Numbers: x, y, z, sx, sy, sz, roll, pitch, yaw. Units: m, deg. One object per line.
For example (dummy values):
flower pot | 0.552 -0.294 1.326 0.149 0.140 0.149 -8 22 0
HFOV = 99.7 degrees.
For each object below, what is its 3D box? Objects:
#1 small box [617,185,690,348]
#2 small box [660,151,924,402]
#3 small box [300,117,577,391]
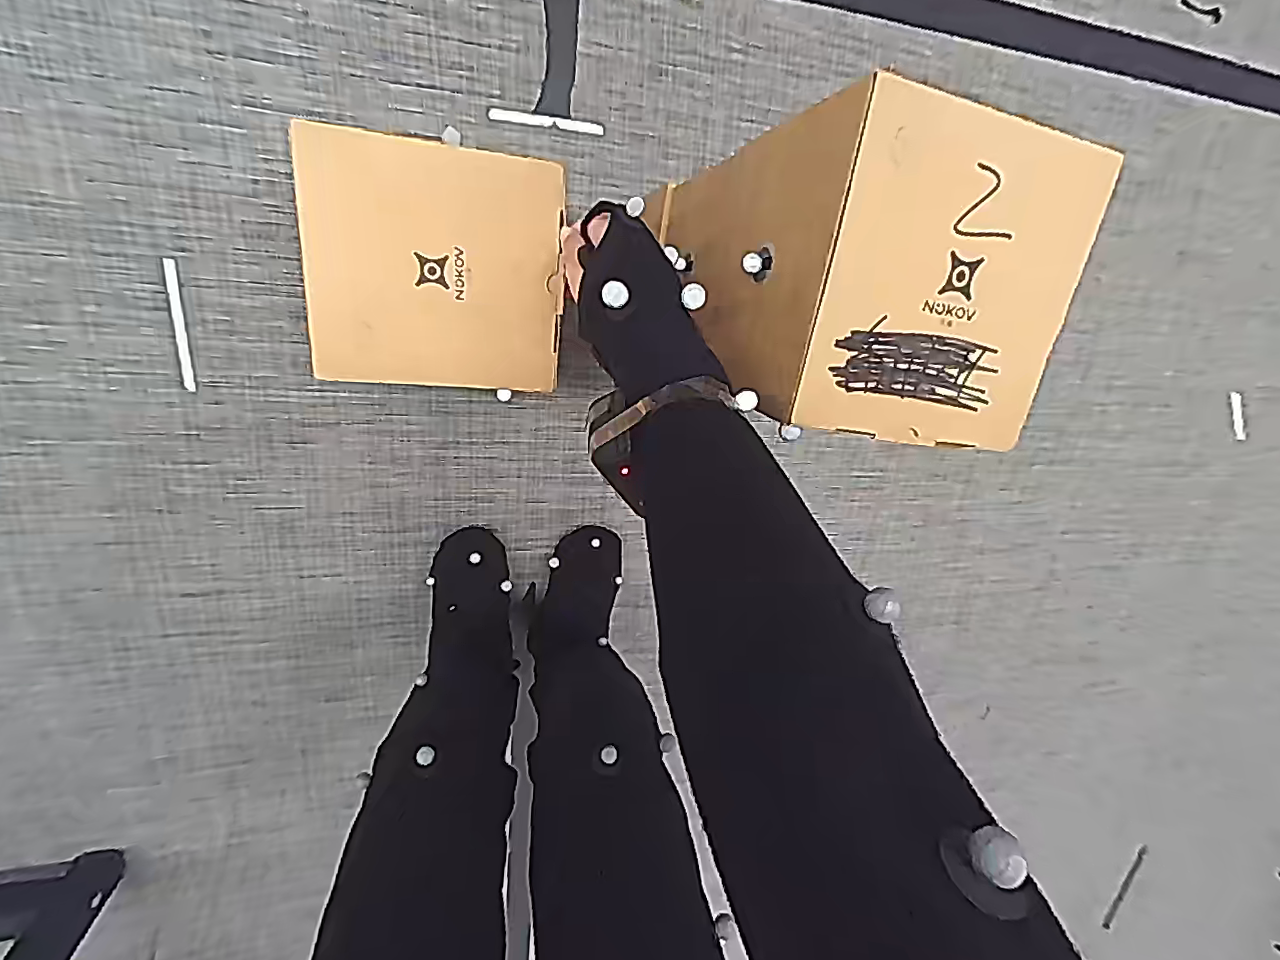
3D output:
small box | 0.083 -0.246 0.669 0.179 0.176 0.168 5 109 -17
small box | 0.125 -0.185 0.522 0.168 0.176 0.179 4 108 -16
small box | -0.156 -0.174 0.454 0.179 0.176 0.168 -1 110 -17
